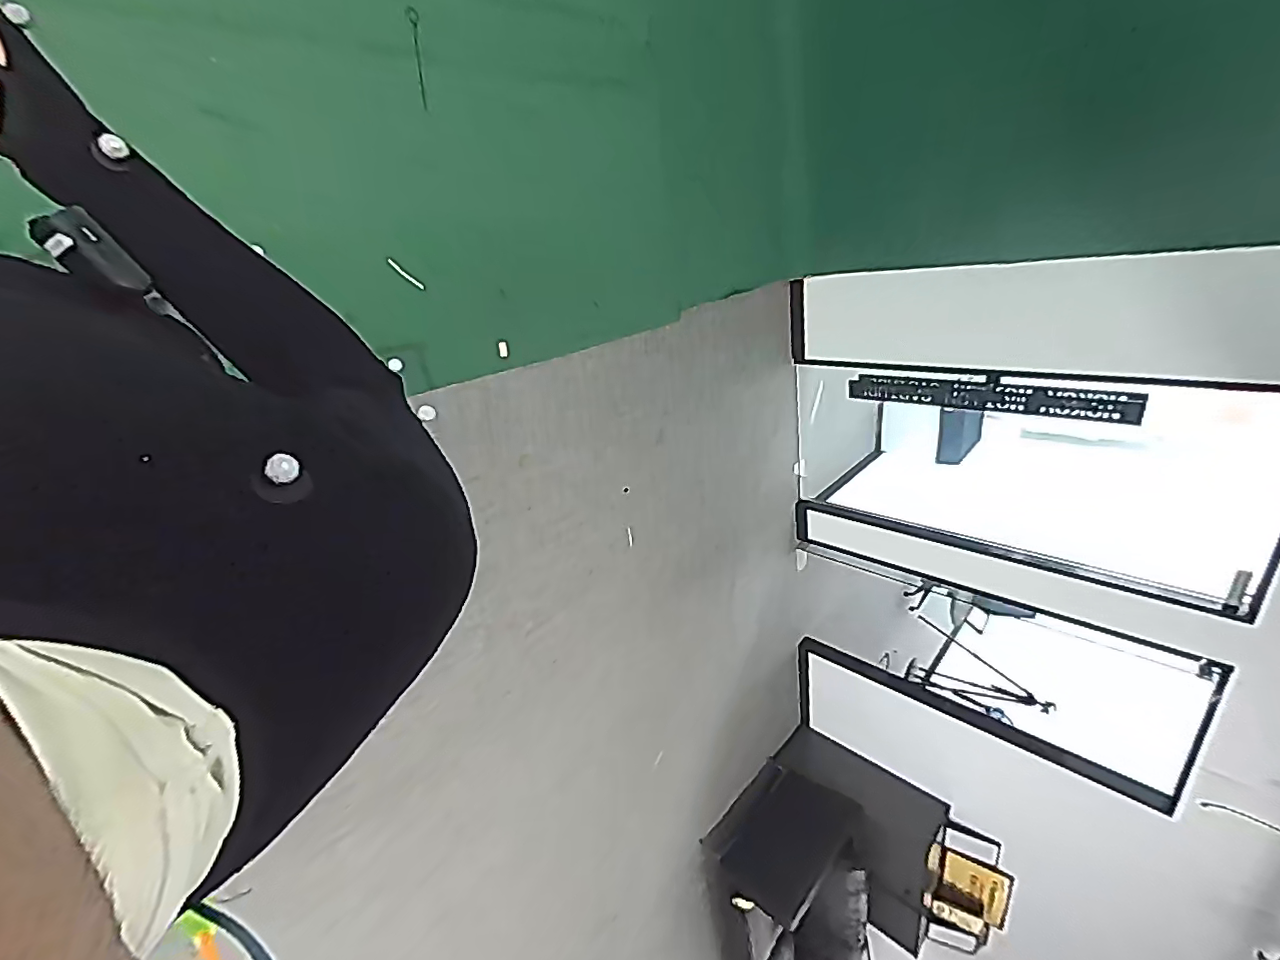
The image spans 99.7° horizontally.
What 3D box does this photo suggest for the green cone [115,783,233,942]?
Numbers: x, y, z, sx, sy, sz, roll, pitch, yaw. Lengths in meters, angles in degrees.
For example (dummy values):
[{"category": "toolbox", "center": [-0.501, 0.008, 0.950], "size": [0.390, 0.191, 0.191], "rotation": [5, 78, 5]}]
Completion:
[{"category": "green cone", "center": [-1.127, 0.976, 1.338], "size": [0.202, 0.368, 0.200], "rotation": [-28, 121, -37]}]
